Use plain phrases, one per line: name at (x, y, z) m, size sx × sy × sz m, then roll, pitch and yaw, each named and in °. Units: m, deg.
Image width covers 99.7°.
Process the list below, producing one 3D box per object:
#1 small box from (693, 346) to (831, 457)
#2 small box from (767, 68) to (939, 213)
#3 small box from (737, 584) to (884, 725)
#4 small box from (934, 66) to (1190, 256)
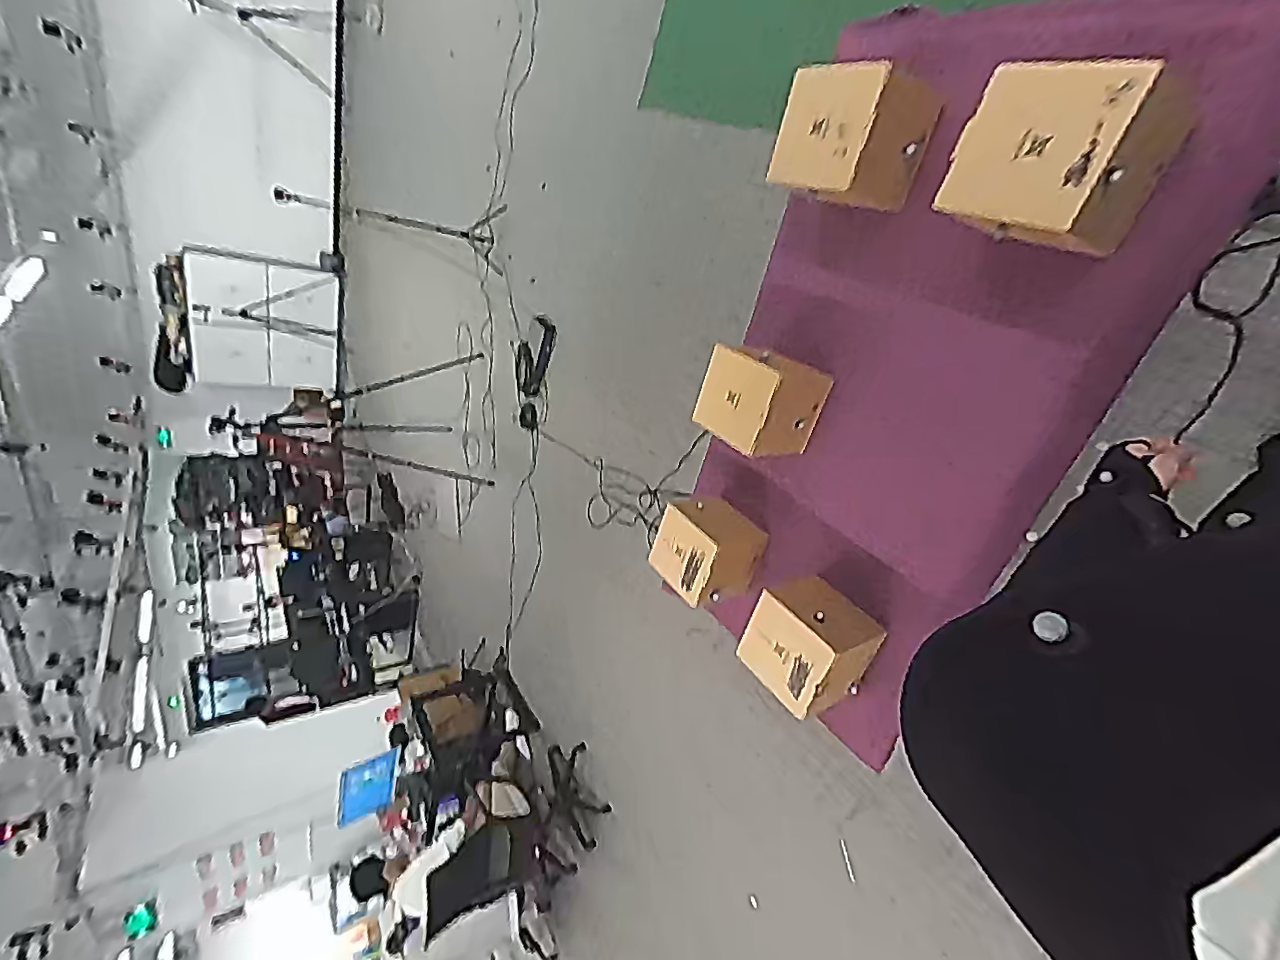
small box at (0.243, -0.155, 1.085) m, size 0.179 × 0.176 × 0.168 m, roll 39°, pitch 122°, yaw 41°
small box at (0.350, -0.557, 0.901) m, size 0.179 × 0.176 × 0.168 m, roll 39°, pitch 126°, yaw 42°
small box at (0.323, 0.317, 1.024) m, size 0.179 × 0.176 × 0.168 m, roll 41°, pitch 123°, yaw 43°
small box at (0.530, -0.398, 0.689) m, size 0.179 × 0.176 × 0.168 m, roll 44°, pitch 127°, yaw 43°
